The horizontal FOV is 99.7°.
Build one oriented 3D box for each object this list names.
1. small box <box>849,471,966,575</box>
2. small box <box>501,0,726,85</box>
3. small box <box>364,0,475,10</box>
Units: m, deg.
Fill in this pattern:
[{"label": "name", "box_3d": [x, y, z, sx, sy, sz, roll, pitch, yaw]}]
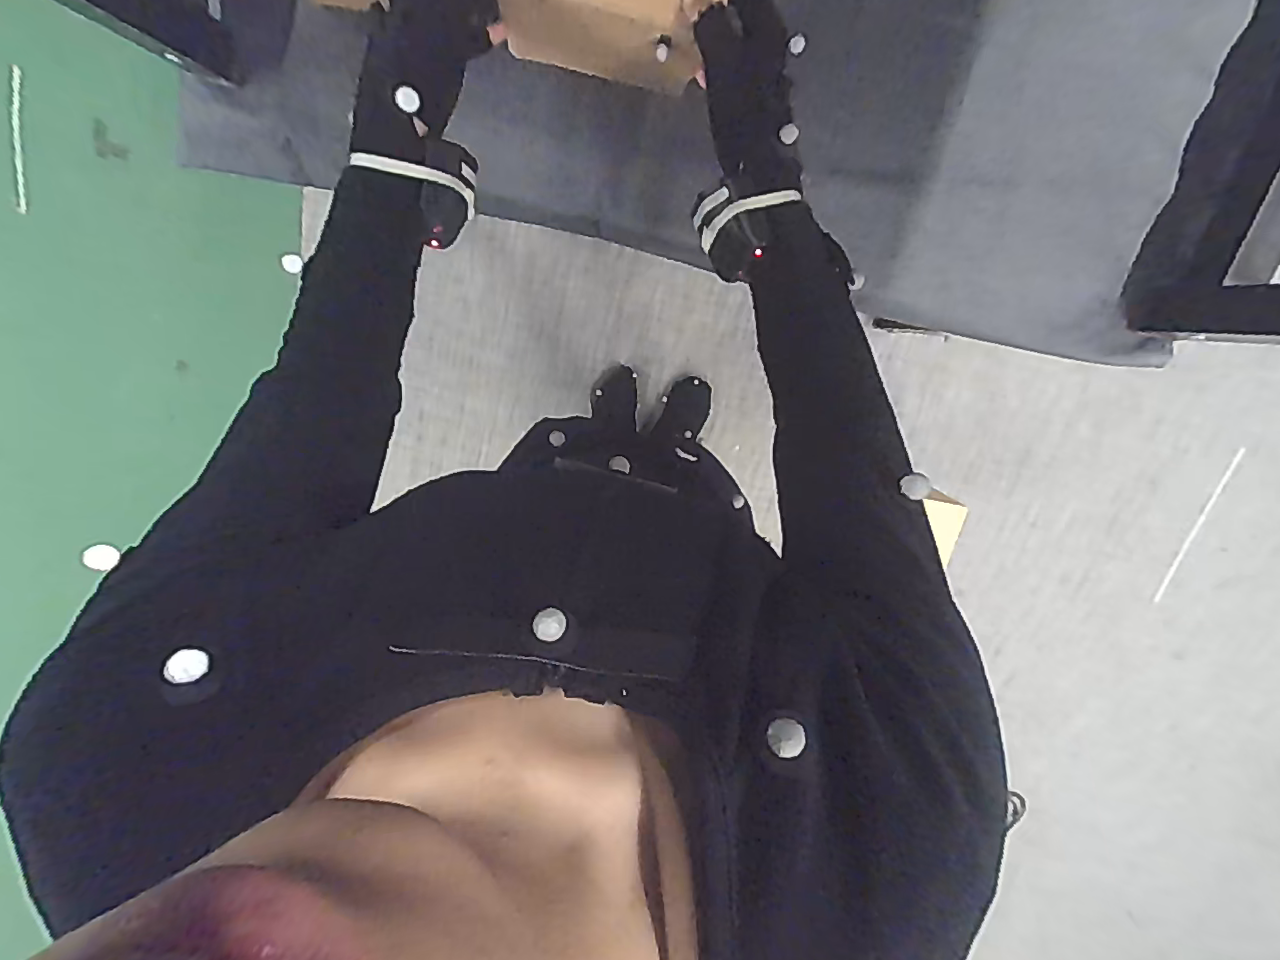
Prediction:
[{"label": "small box", "box_3d": [0.611, 0.096, 1.264, 0.168, 0.176, 0.179, 11, 106, -3]}, {"label": "small box", "box_3d": [-0.020, -0.448, 0.433, 0.179, 0.176, 0.168, 6, 113, -10]}, {"label": "small box", "box_3d": [-0.248, -0.556, 0.473, 0.179, 0.176, 0.168, 6, 108, 0]}]
